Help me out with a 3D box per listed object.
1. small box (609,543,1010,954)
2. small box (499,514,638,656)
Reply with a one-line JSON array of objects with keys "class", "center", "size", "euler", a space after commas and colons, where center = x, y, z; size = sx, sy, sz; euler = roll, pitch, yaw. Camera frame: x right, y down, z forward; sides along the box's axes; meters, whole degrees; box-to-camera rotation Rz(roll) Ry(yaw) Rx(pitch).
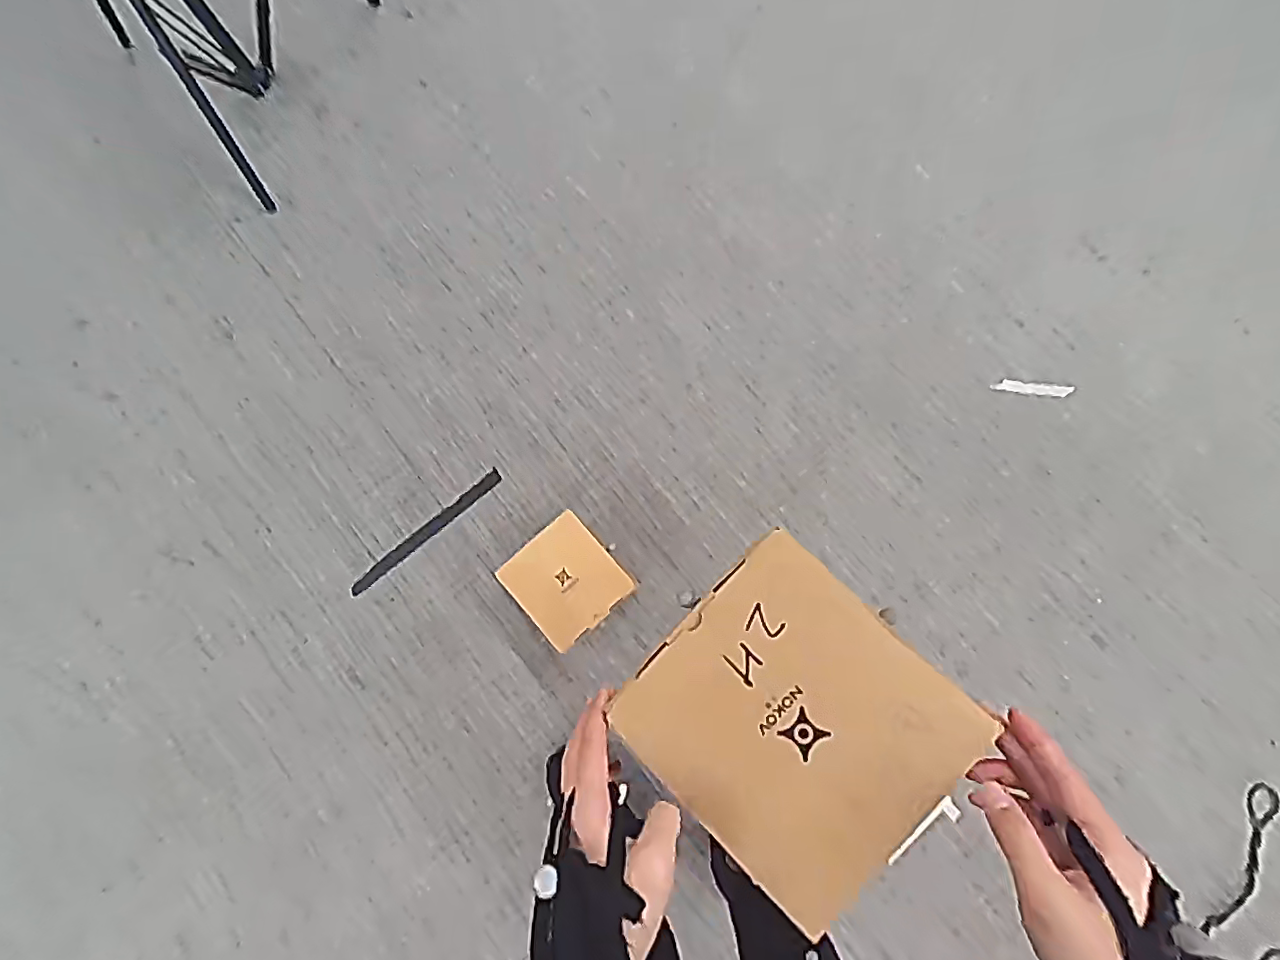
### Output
[{"class": "small box", "center": [0.106, 0.165, 0.400], "size": [0.179, 0.176, 0.168], "euler": [43, 87, 12]}, {"class": "small box", "center": [-0.120, 0.187, 0.970], "size": [0.168, 0.176, 0.179], "euler": [-41, 82, -7]}]
